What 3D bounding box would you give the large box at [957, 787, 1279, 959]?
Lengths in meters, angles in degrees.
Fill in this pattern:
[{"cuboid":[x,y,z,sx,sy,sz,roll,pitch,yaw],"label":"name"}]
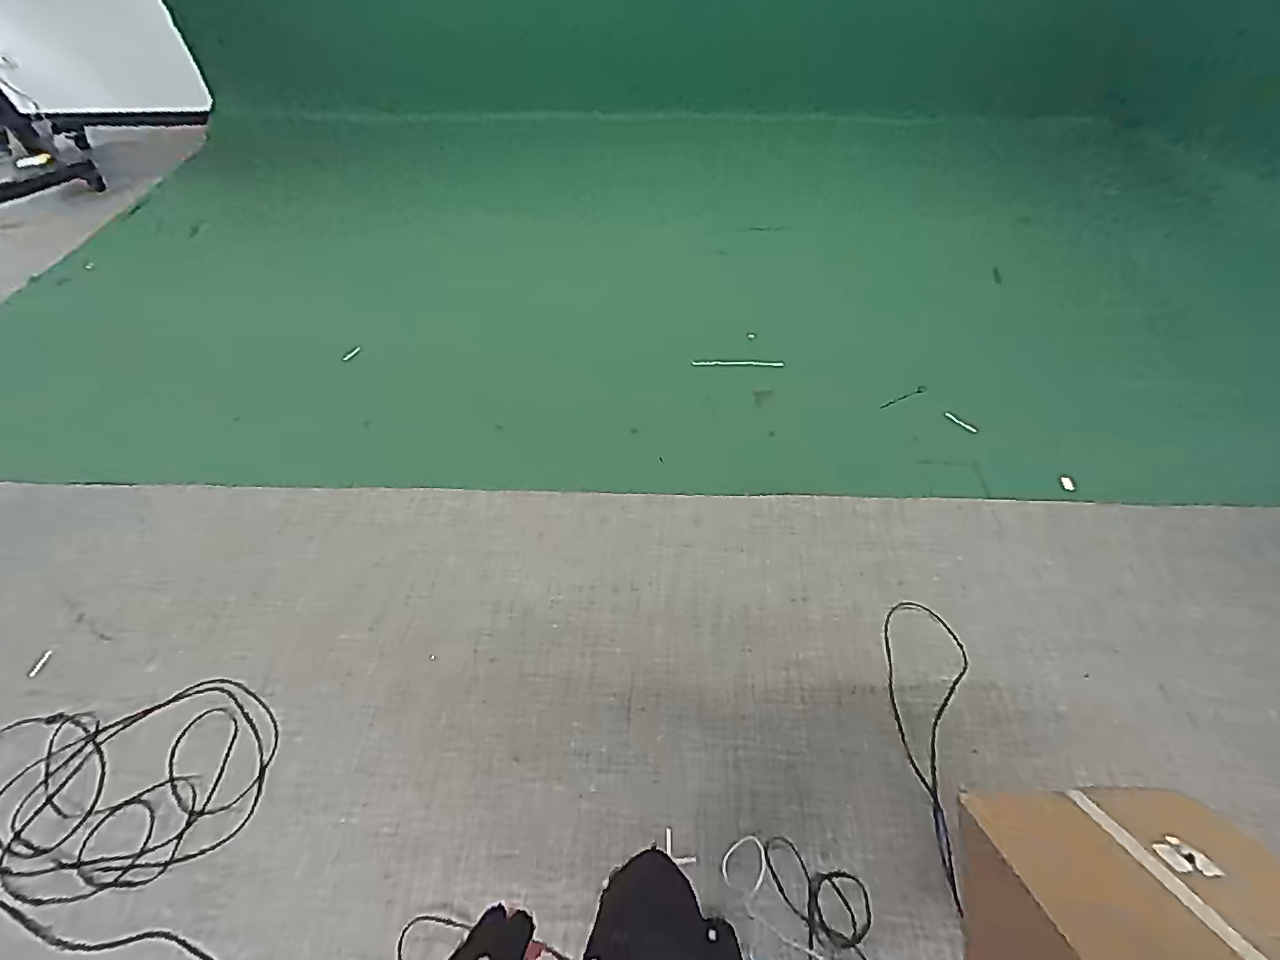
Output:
[{"cuboid":[0.629,0.628,0.618,0.320,0.408,0.320,-4,94,5],"label":"large box"}]
